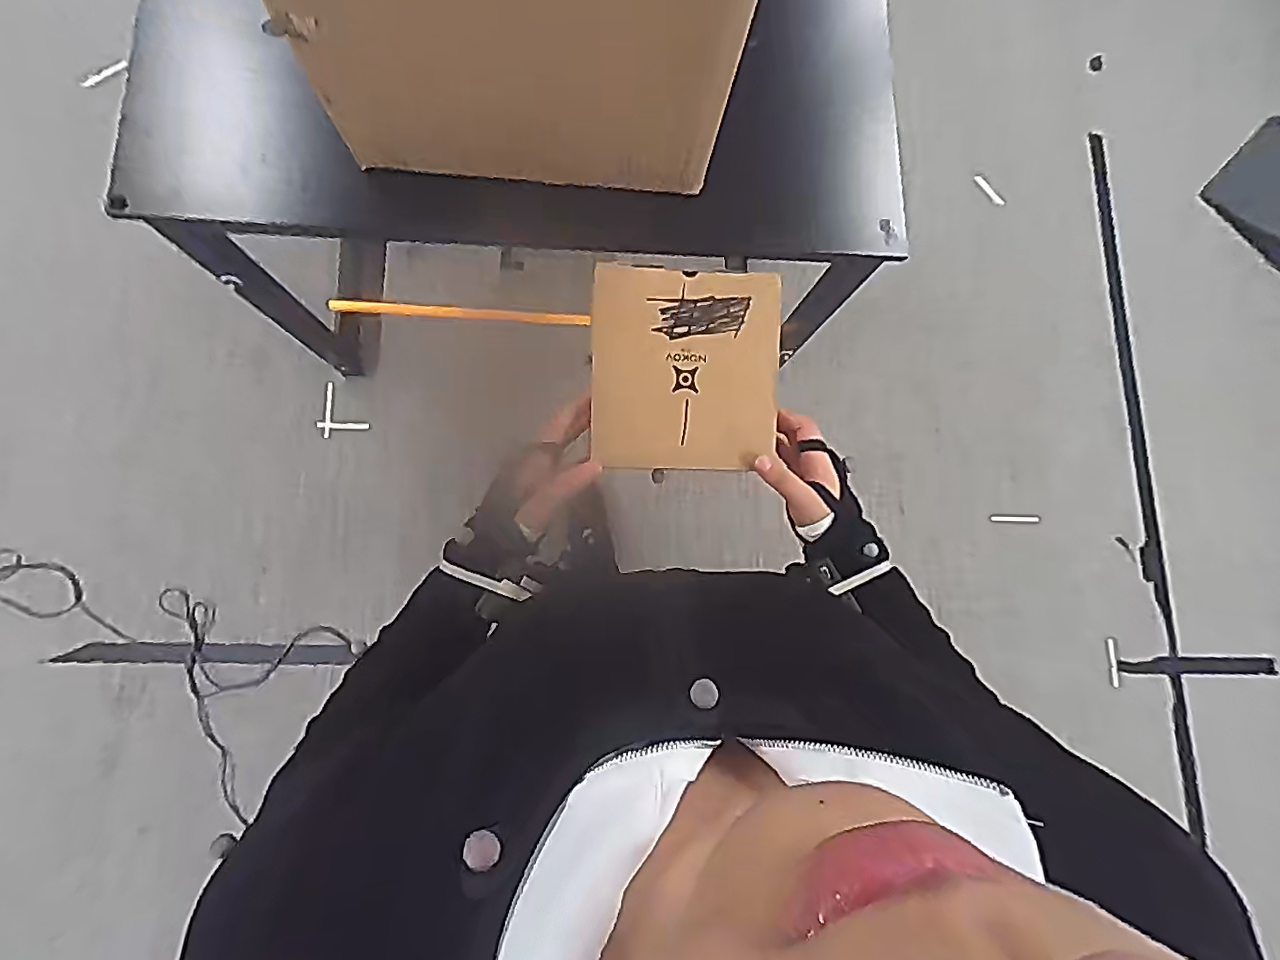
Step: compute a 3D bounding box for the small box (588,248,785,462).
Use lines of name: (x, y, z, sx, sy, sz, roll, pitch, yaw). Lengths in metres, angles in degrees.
small box: (0.034, -0.109, 0.542, 0.168, 0.176, 0.179, 1, 93, -6)
